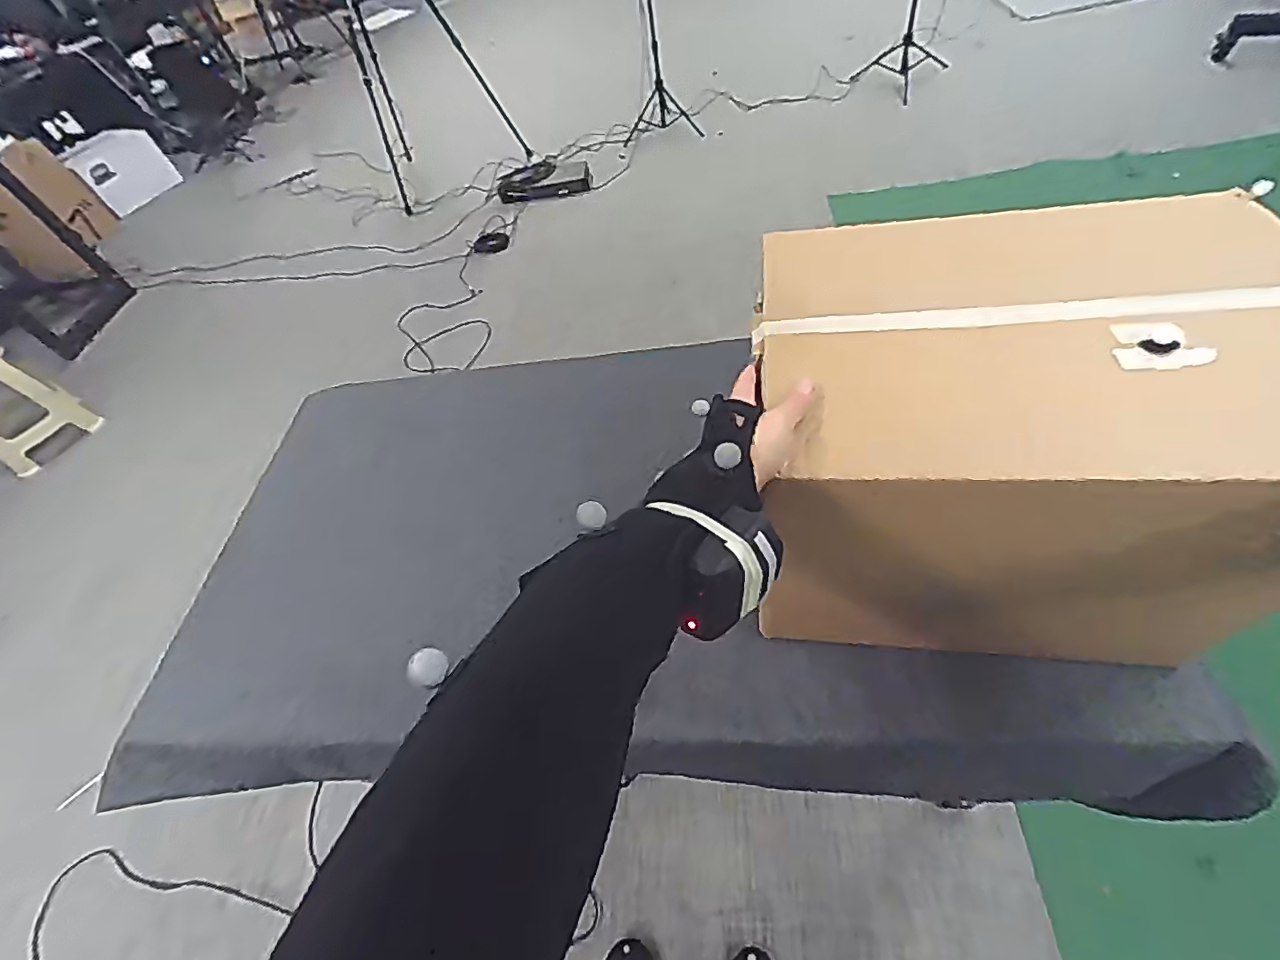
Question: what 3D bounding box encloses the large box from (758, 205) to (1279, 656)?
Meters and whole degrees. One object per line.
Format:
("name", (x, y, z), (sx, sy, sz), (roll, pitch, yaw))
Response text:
("large box", (0.329, -0.034, 0.544), (0.408, 0.320, 0.320), (1, 54, 12))
